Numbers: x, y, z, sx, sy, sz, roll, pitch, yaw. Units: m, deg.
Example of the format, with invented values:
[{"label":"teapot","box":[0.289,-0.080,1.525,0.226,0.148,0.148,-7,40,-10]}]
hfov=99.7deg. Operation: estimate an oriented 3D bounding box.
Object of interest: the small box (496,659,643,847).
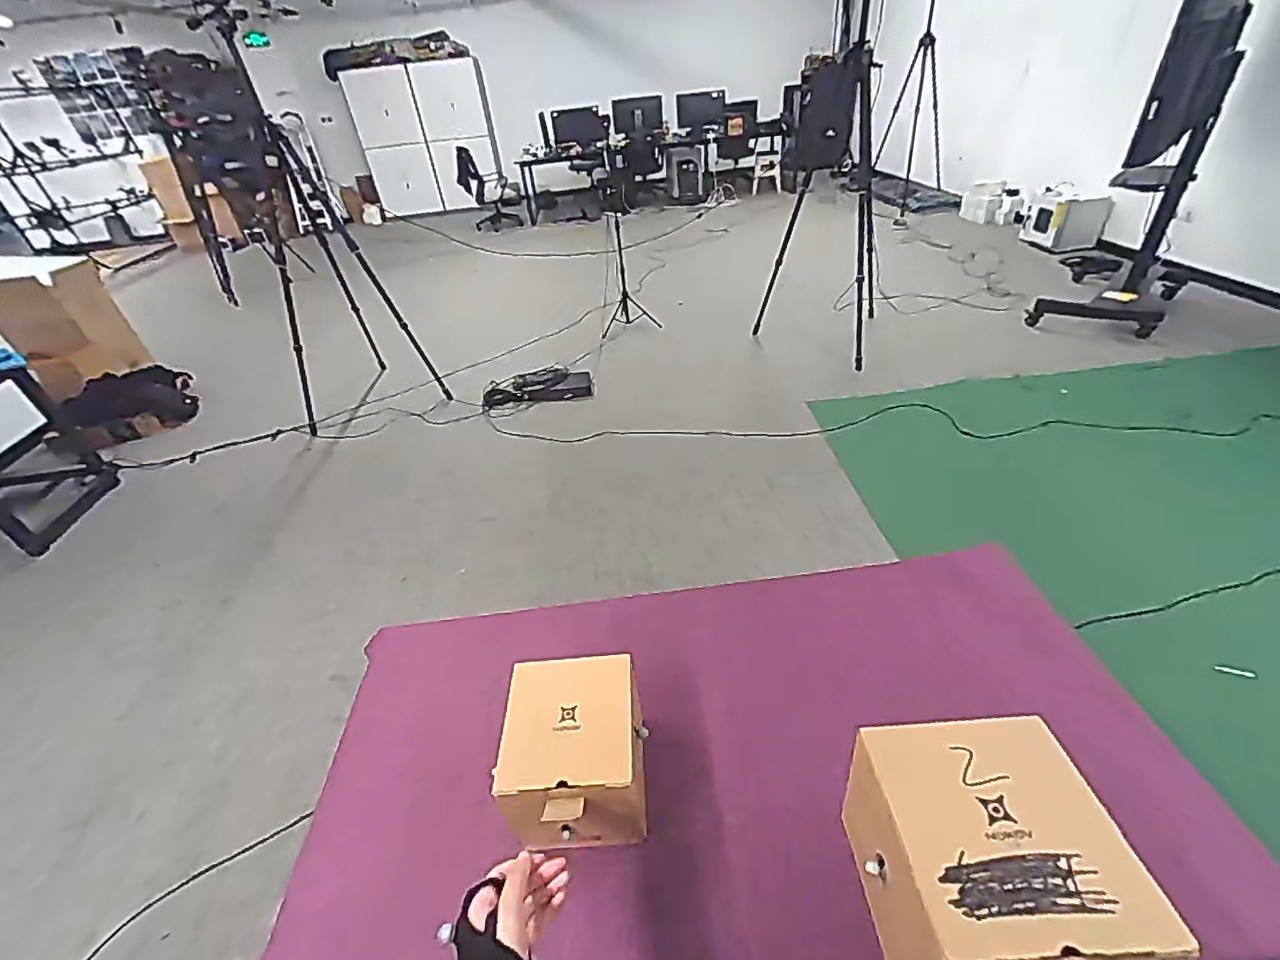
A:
[{"label":"small box","box":[-0.086,0.376,0.750,0.168,0.176,0.179,-5,38,2]}]
